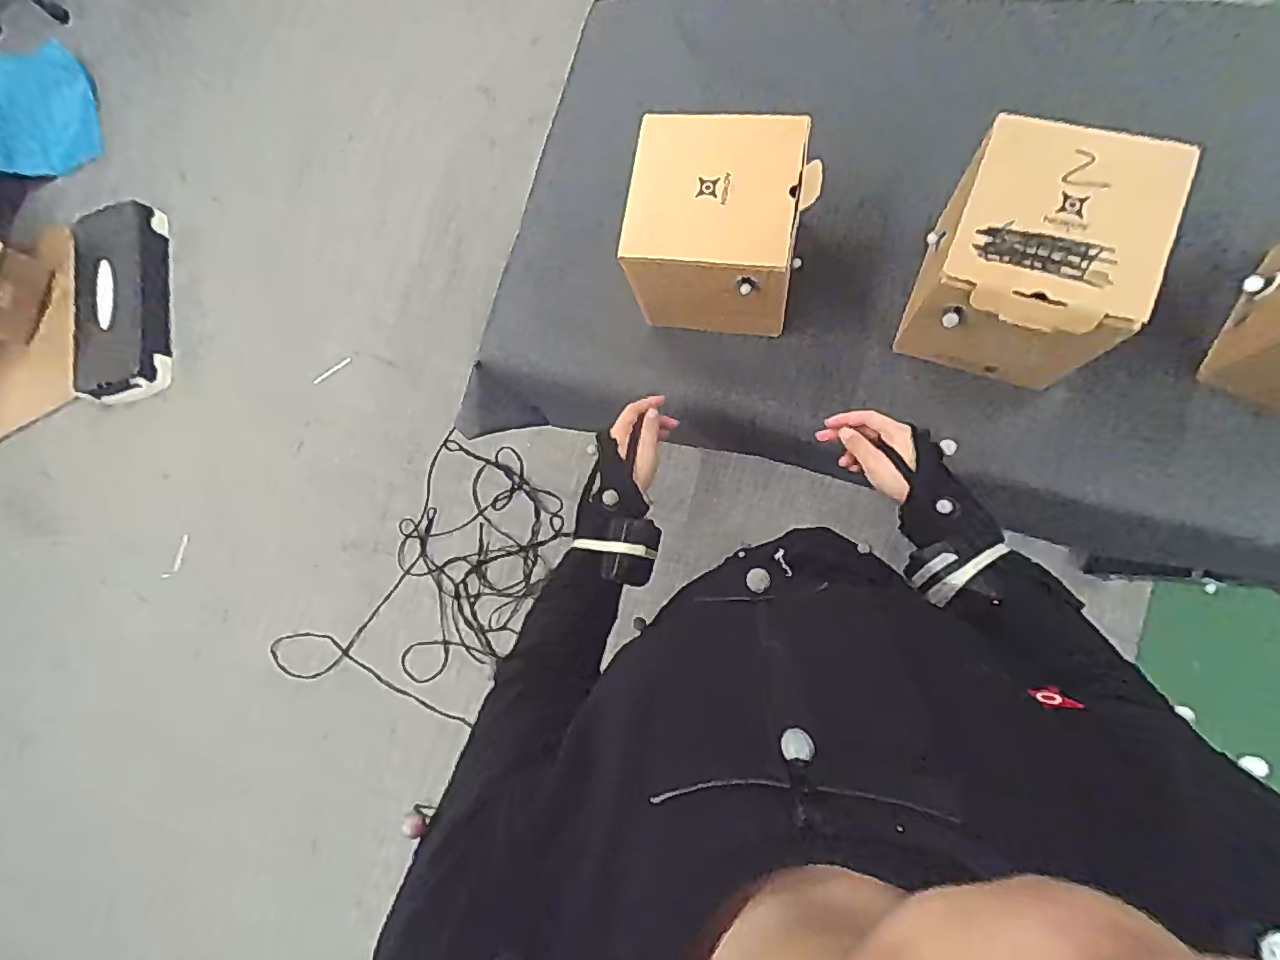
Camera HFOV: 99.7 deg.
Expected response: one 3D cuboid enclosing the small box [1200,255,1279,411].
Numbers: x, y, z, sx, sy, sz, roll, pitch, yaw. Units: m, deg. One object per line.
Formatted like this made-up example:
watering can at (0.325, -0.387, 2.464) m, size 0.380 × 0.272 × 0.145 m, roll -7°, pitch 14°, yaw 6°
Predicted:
small box at (0.697, -0.149, 0.488) m, size 0.179 × 0.176 × 0.168 m, roll 31°, pitch 88°, yaw 15°
